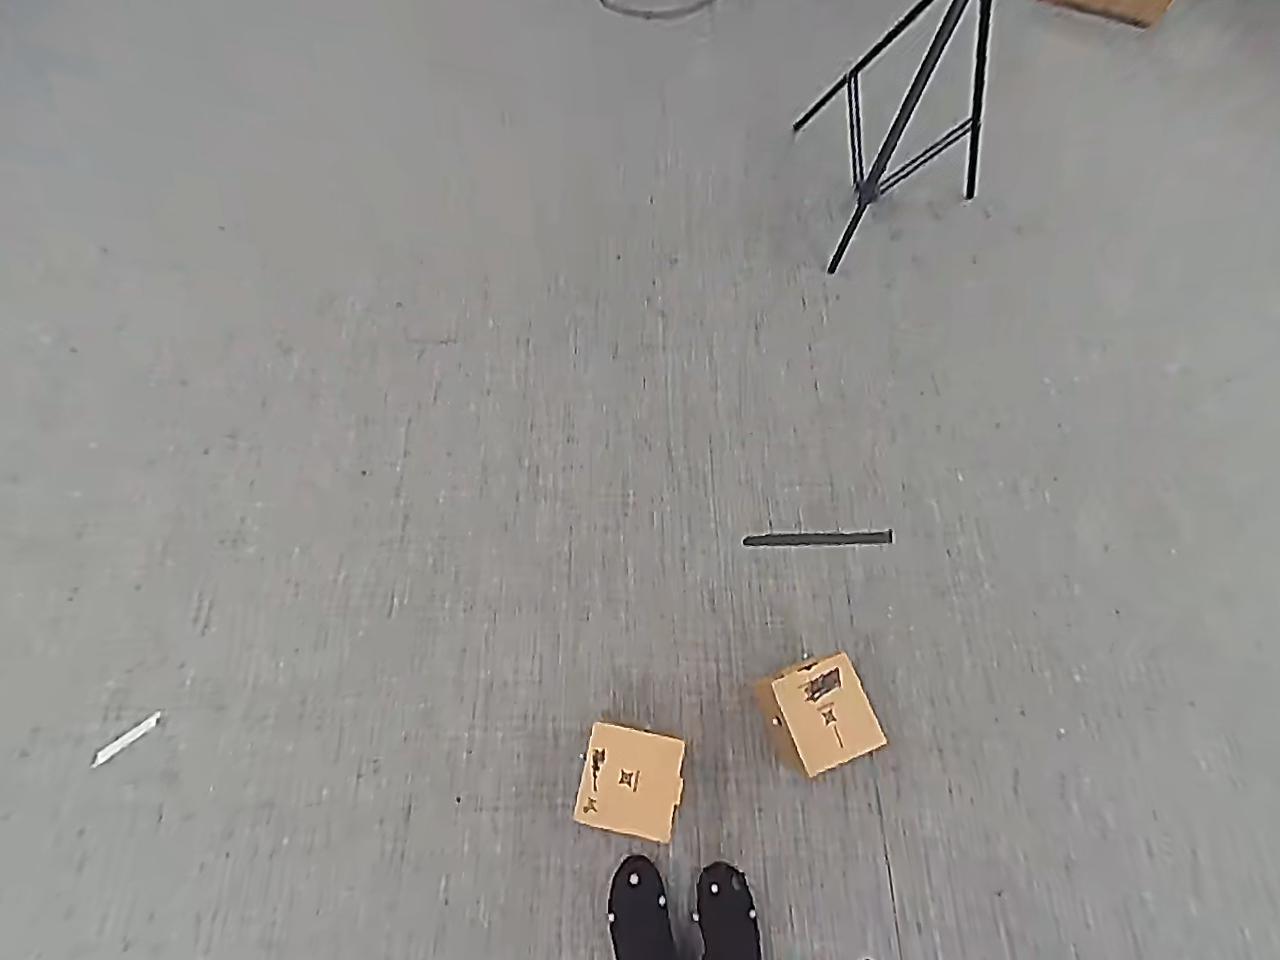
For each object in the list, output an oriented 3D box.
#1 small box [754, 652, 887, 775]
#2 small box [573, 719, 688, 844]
[{"bbox_3d":[0.347,0.461,1.081,0.168,0.176,0.179,-18,71,-9],"label":"small box"},{"bbox_3d":[-0.017,0.561,1.032,0.179,0.176,0.168,12,68,3],"label":"small box"}]
